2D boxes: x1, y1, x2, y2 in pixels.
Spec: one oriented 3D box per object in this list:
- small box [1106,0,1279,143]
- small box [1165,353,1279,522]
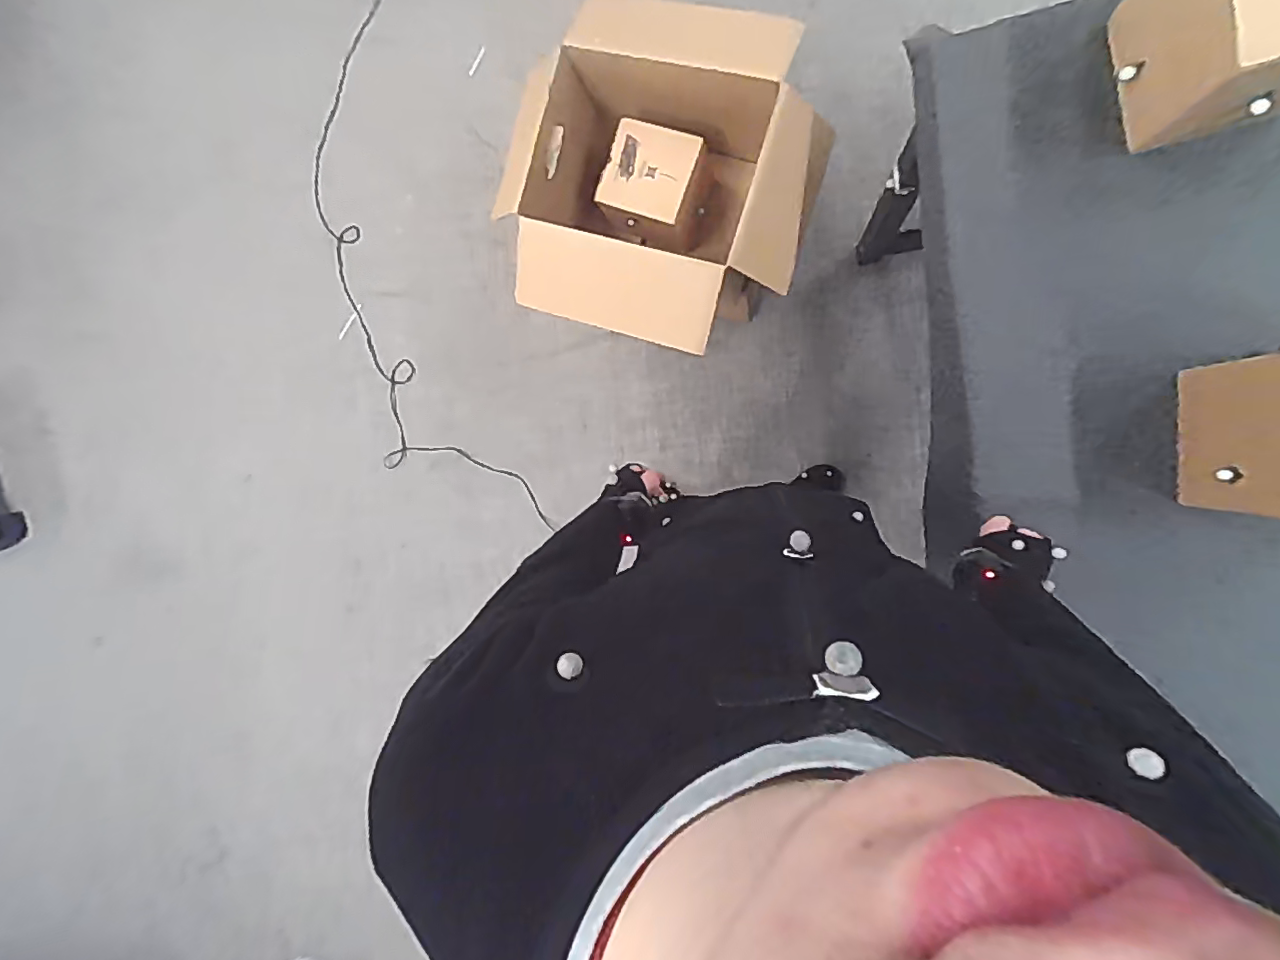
[{"bbox_3d":[0.662,-0.505,0.591,0.168,0.176,0.179,-11,93,12],"label":"small box"},{"bbox_3d":[0.745,-0.050,0.608,0.168,0.176,0.179,-2,92,11],"label":"small box"}]
